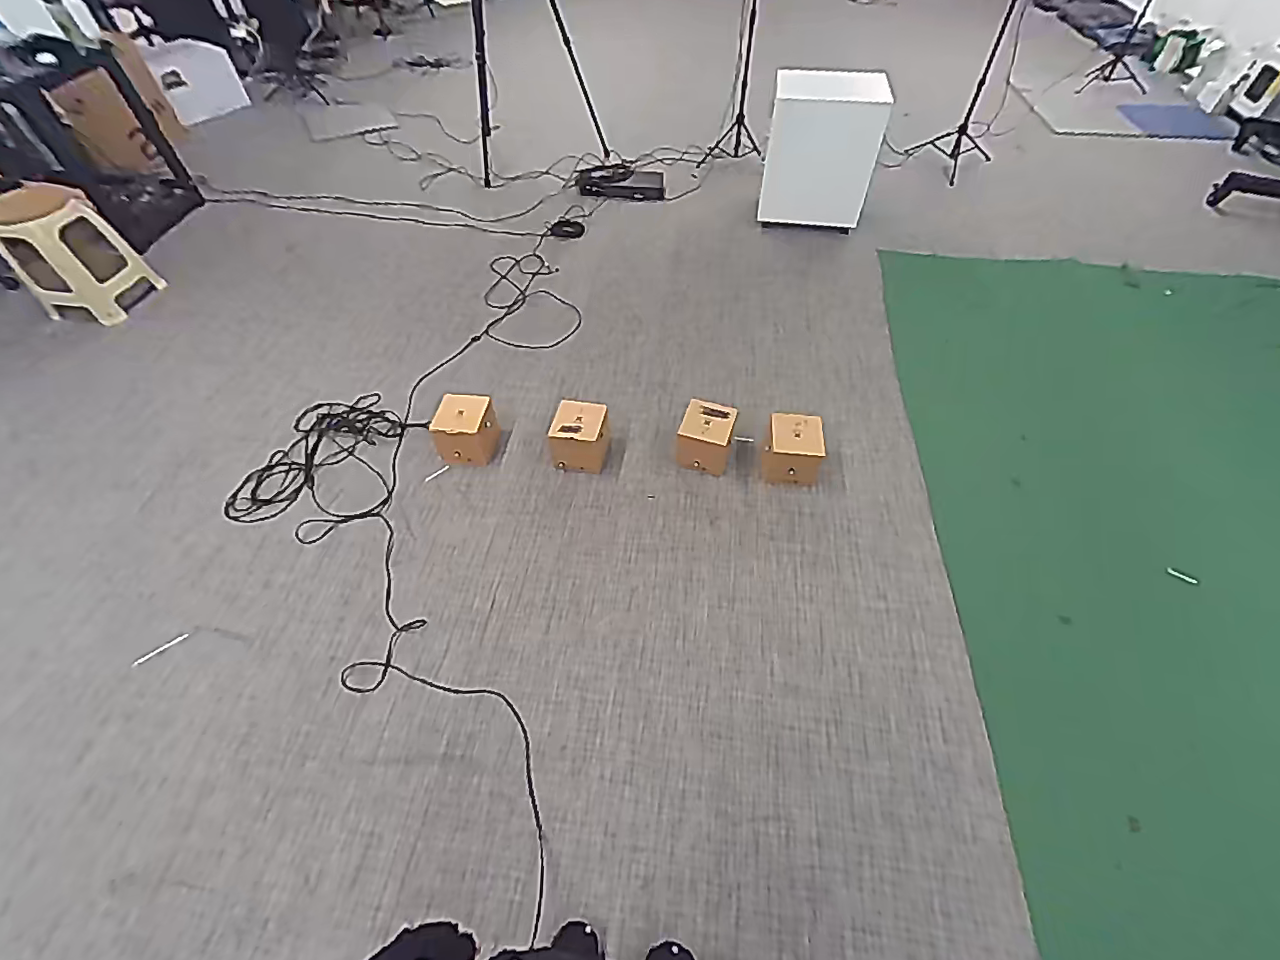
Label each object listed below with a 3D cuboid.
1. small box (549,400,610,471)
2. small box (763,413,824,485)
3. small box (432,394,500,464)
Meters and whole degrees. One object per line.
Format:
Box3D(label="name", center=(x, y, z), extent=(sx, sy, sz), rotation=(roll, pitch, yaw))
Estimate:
Box3D(label="small box", center=(-0.202, -0.151, 1.873), extent=(0.168, 0.176, 0.179), rotation=(8, 52, 8))
Box3D(label="small box", center=(0.513, -0.102, 1.825), extent=(0.168, 0.176, 0.179), rotation=(5, 53, 4))
Box3D(label="small box", center=(-0.603, -0.179, 1.904), extent=(0.168, 0.176, 0.179), rotation=(4, 53, 5))
